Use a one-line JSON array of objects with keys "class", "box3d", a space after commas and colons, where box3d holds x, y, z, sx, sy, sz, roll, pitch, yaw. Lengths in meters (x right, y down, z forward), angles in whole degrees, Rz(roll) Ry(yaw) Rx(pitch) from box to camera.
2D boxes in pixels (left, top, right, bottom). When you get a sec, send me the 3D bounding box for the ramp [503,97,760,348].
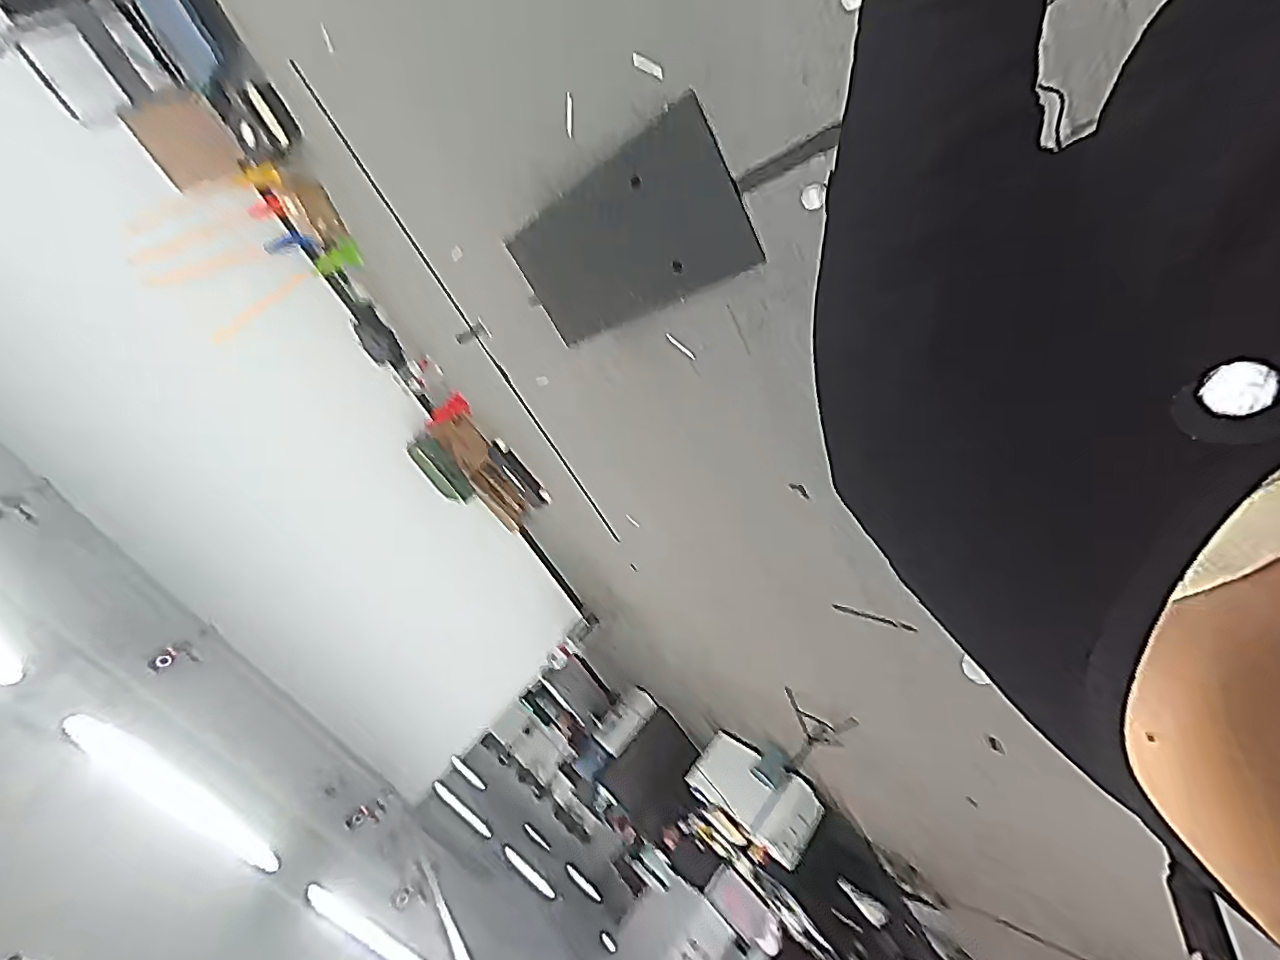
[{"class": "ramp", "box3d": [-0.090, -0.812, 1.902, 0.991, 0.206, 0.509, 0, 127, 55]}]
